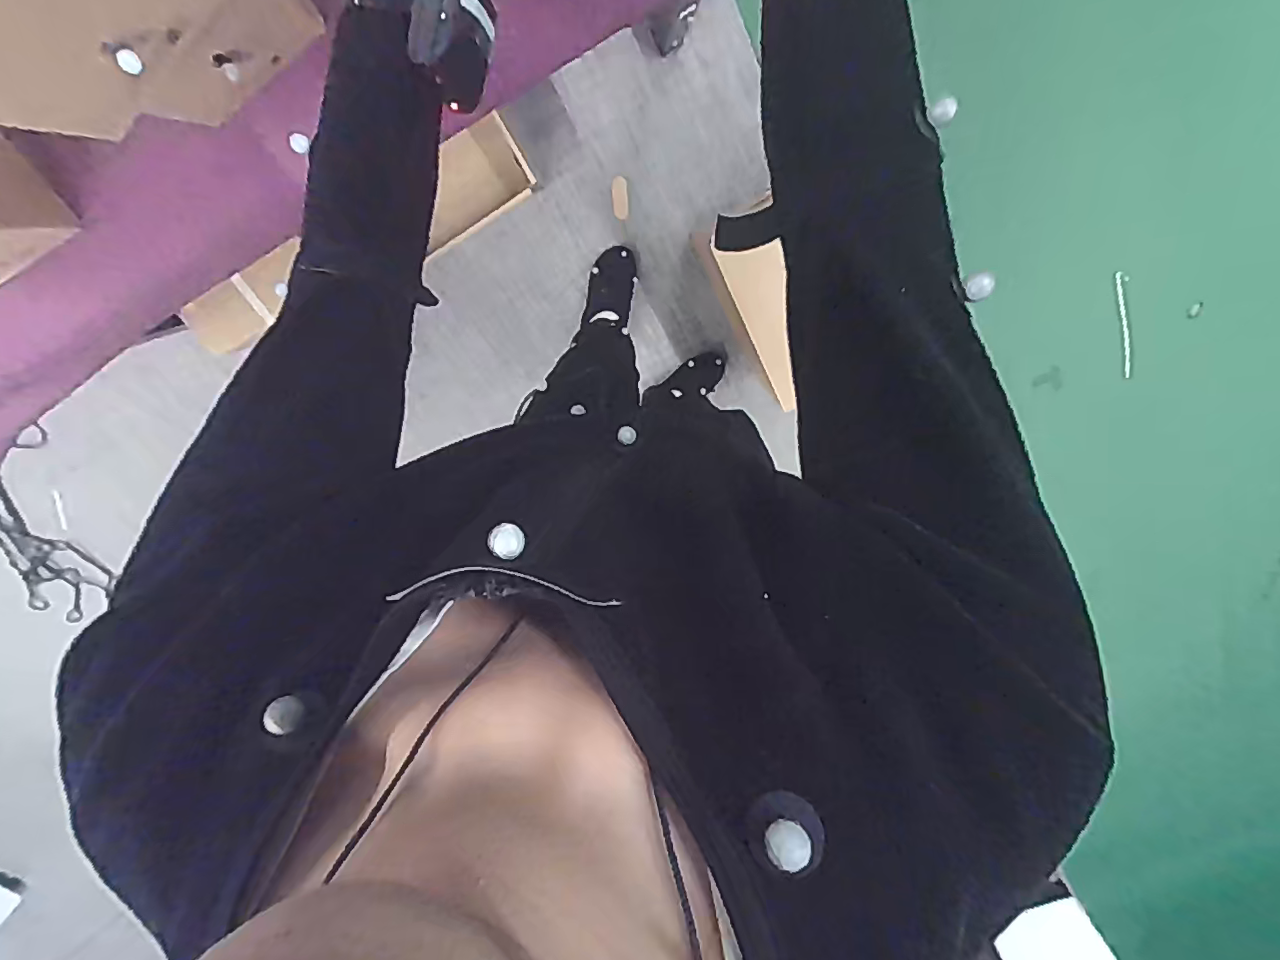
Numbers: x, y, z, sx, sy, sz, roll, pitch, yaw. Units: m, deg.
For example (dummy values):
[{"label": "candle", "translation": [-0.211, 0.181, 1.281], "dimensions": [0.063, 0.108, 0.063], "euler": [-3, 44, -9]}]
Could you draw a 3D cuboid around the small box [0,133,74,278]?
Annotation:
[{"label": "small box", "translation": [-0.732, -0.286, 0.510], "dimensions": [0.168, 0.176, 0.179], "euler": [-25, 116, 9]}]

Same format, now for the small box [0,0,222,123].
[{"label": "small box", "translation": [-0.406, -0.345, 0.308], "dimensions": [0.168, 0.176, 0.179], "euler": [-35, 113, 15]}]

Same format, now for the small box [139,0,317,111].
[{"label": "small box", "translation": [-0.418, -0.440, 0.445], "dimensions": [0.168, 0.176, 0.179], "euler": [-30, 114, 12]}]
